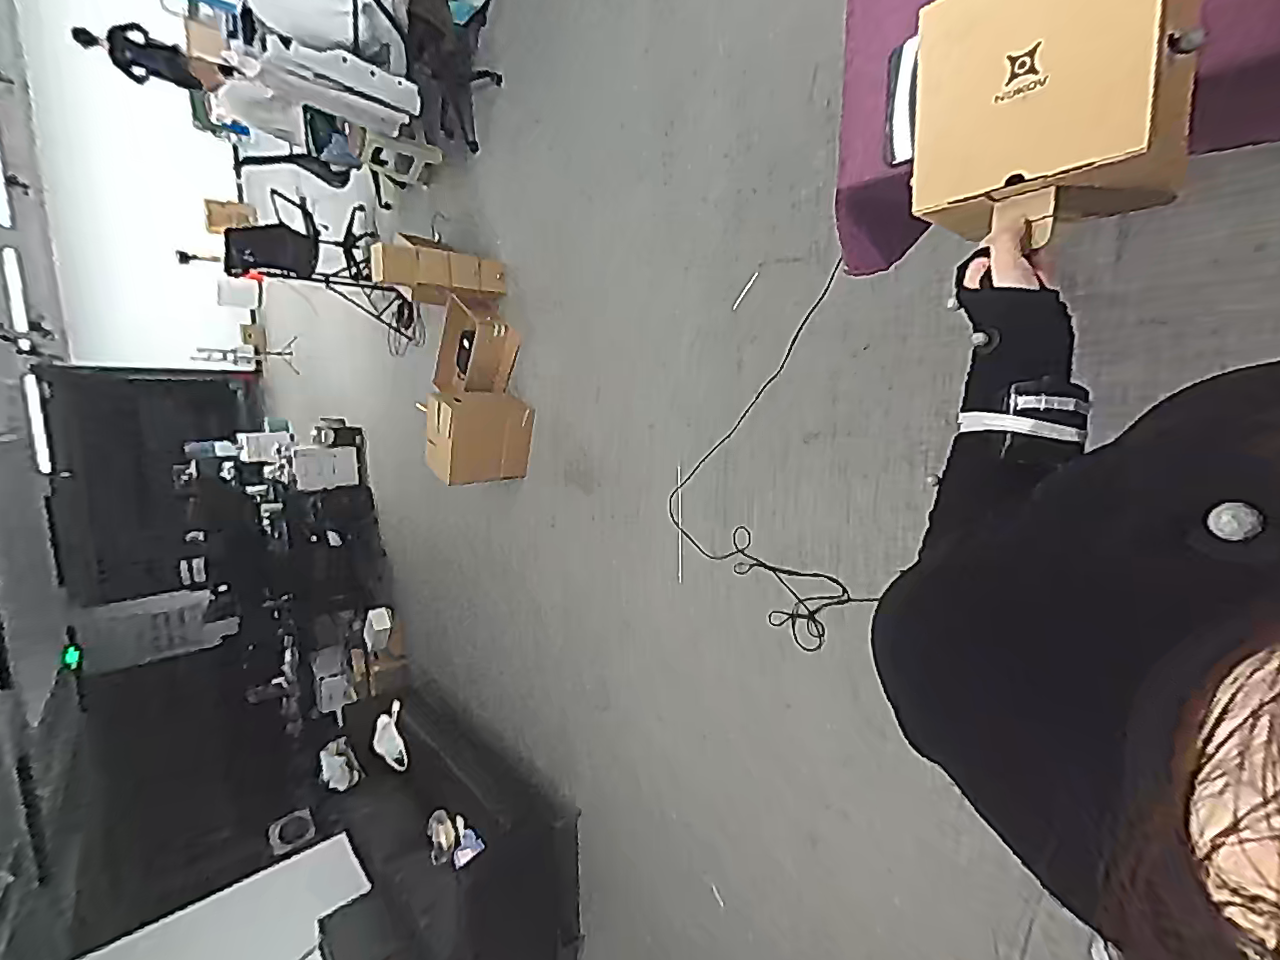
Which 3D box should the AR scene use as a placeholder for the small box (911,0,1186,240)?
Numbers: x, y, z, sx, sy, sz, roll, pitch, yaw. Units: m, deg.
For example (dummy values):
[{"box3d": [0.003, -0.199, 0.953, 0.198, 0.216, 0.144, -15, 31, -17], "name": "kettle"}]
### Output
[{"box3d": [0.372, -0.341, 0.496, 0.168, 0.176, 0.179, 9, 104, 48], "name": "small box"}]
